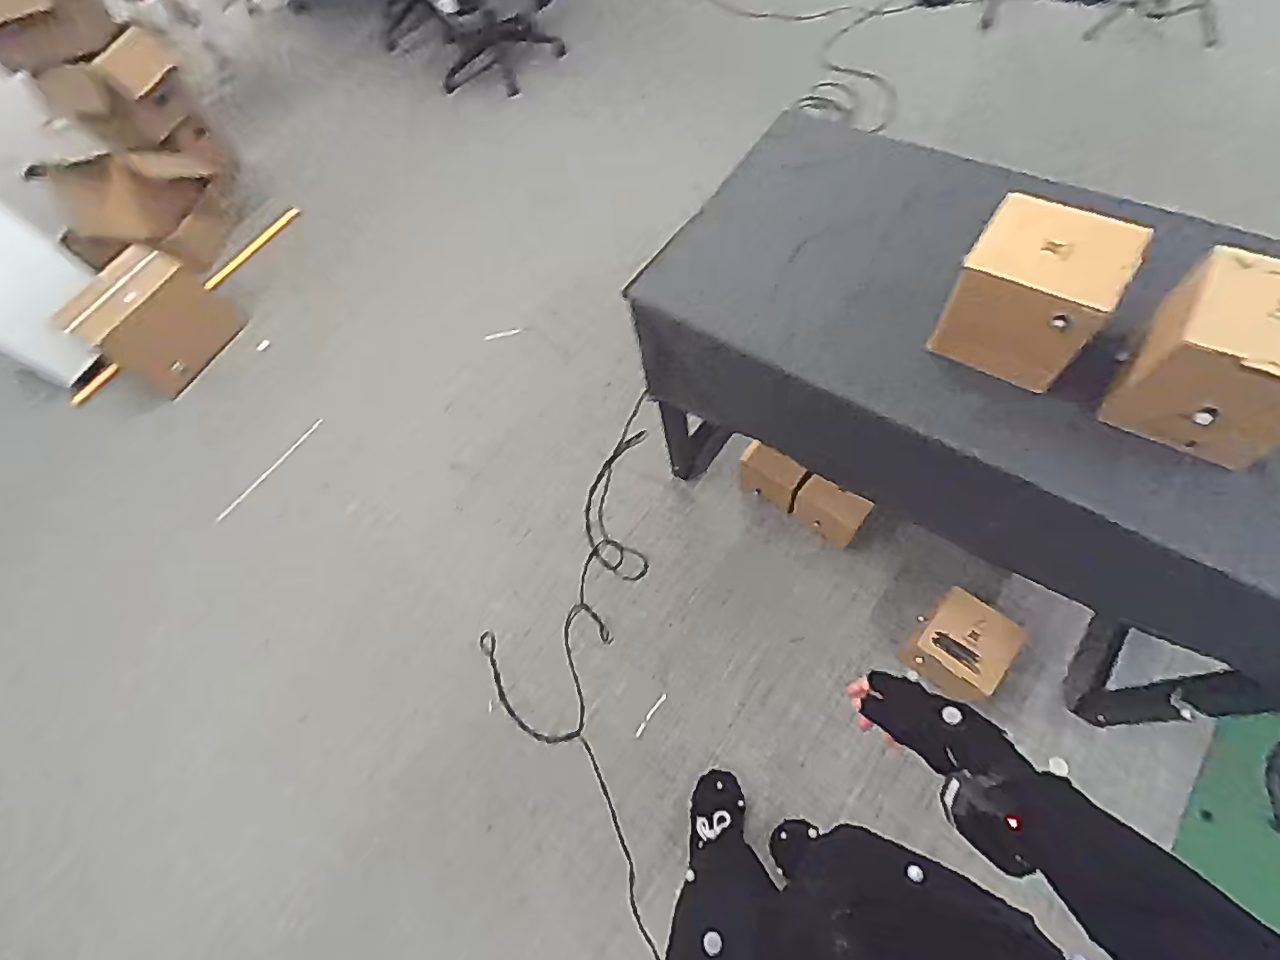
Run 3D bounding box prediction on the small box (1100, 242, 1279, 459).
[{"bbox_3d":[0.739,-0.156,0.686,0.168,0.176,0.179,30,72,20],"label":"small box"}]
